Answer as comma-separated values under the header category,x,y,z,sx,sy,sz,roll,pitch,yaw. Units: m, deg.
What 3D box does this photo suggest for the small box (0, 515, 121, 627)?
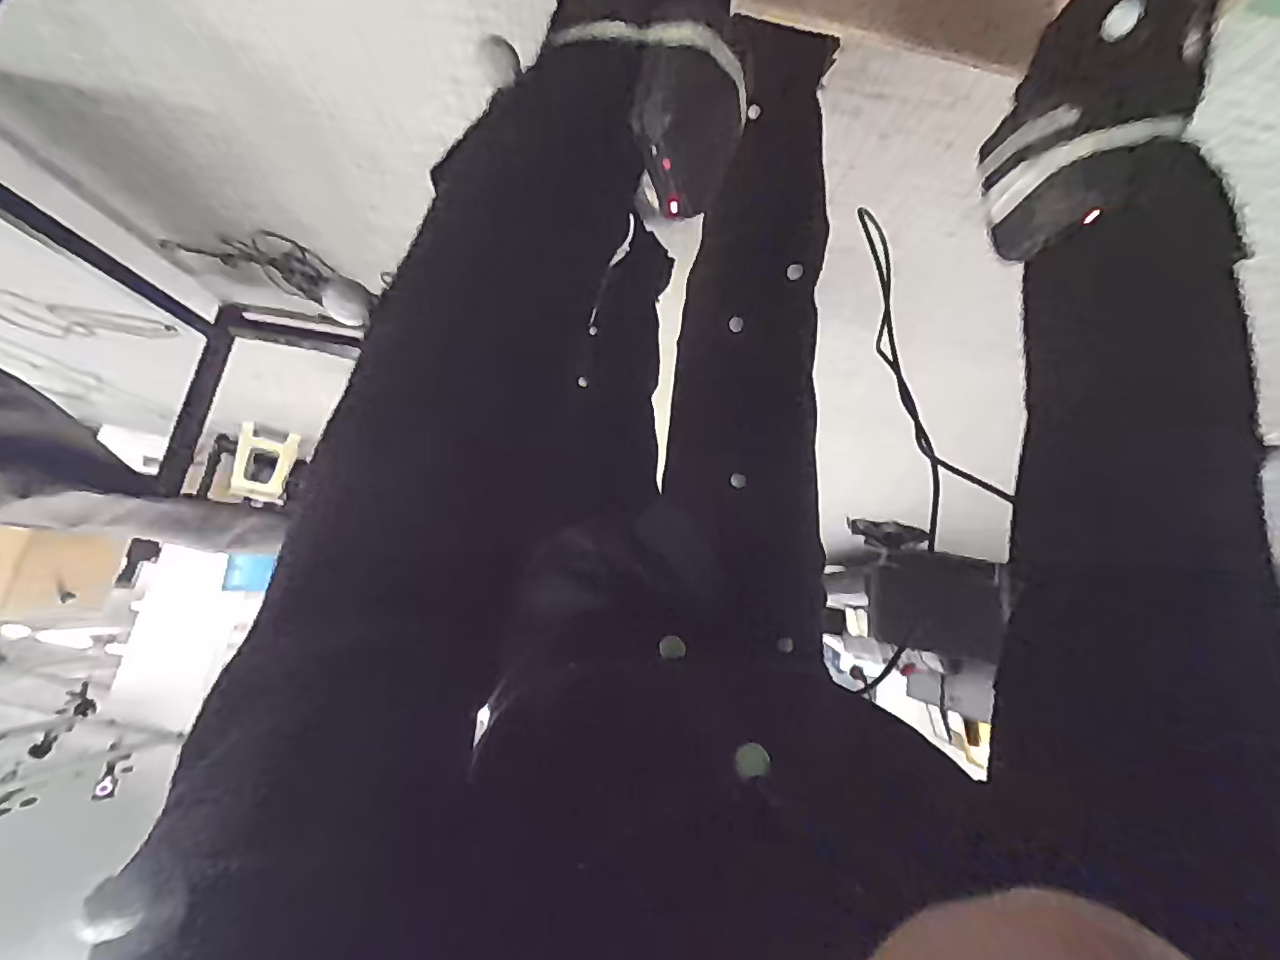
category,x,y,z,sx,sy,sz,roll,pitch,yaw
small box,-1.065,0.150,0.923,0.168,0.176,0.179,9,168,3
